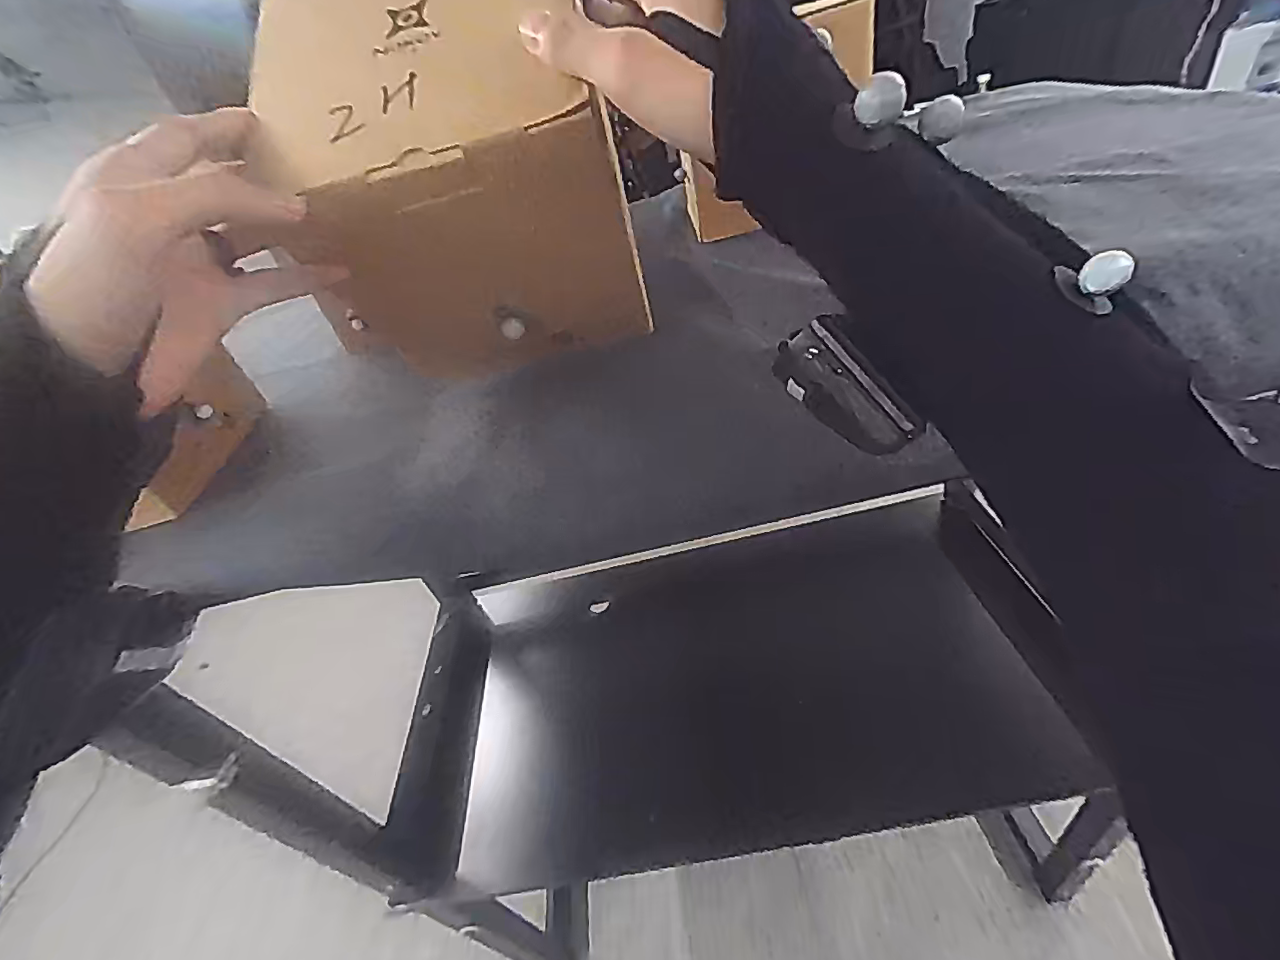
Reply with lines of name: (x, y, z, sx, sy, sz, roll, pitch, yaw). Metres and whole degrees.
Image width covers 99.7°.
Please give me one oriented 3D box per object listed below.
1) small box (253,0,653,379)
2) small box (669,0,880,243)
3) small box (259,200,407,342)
small box: (-0.094, -0.192, 0.340, 0.168, 0.176, 0.179, -12, 70, 7)
small box: (0.136, -0.377, 0.574, 0.179, 0.176, 0.168, -12, 38, 9)
small box: (-0.253, -0.267, 0.591, 0.168, 0.176, 0.179, -14, 37, 5)
